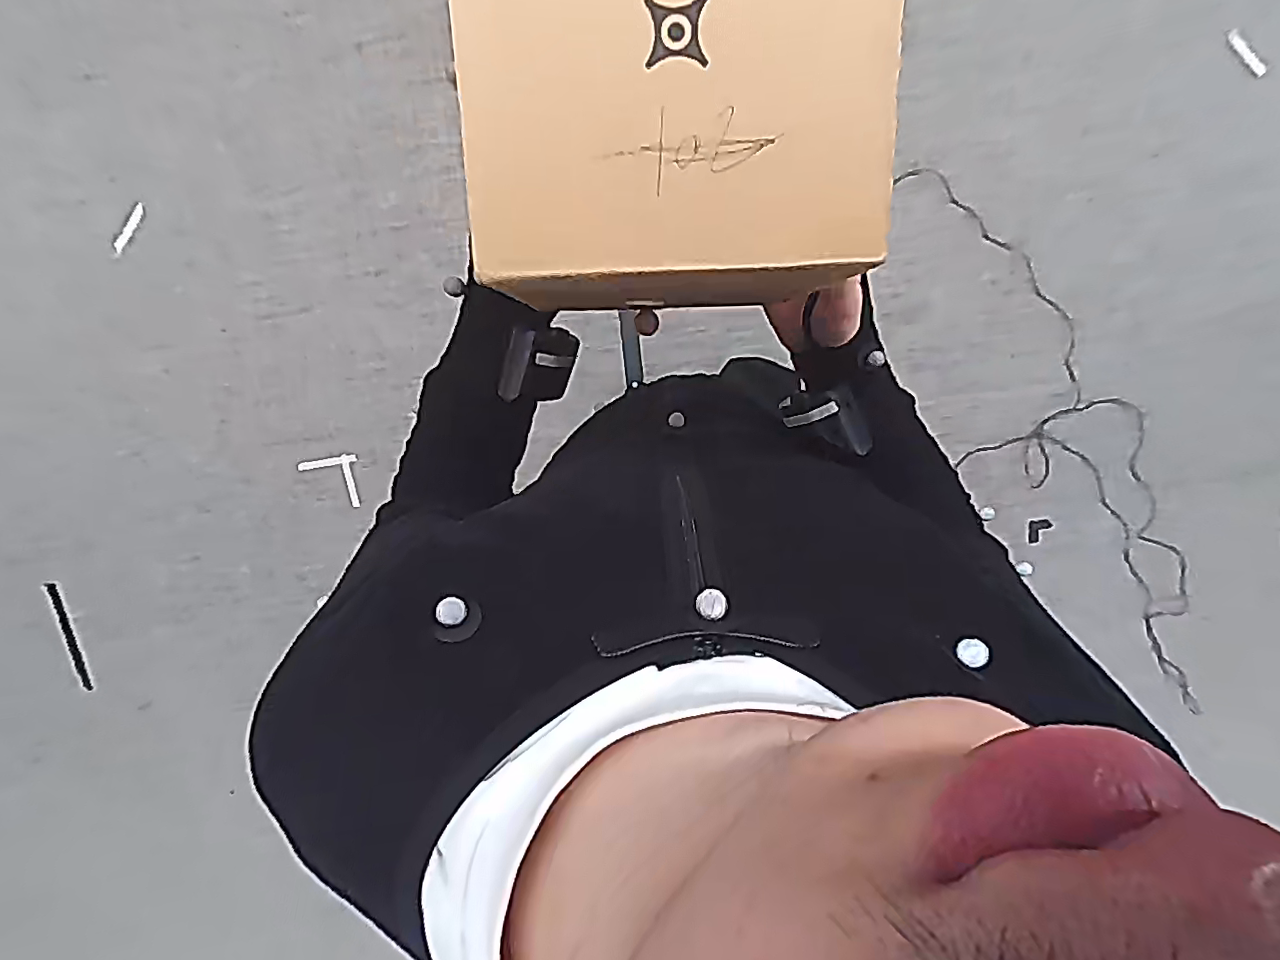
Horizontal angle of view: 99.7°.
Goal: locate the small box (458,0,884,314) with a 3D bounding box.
[{"bbox_3d":[0.012,-0.188,0.287,0.168,0.176,0.179,-2,103,1],"label":"small box"}]
